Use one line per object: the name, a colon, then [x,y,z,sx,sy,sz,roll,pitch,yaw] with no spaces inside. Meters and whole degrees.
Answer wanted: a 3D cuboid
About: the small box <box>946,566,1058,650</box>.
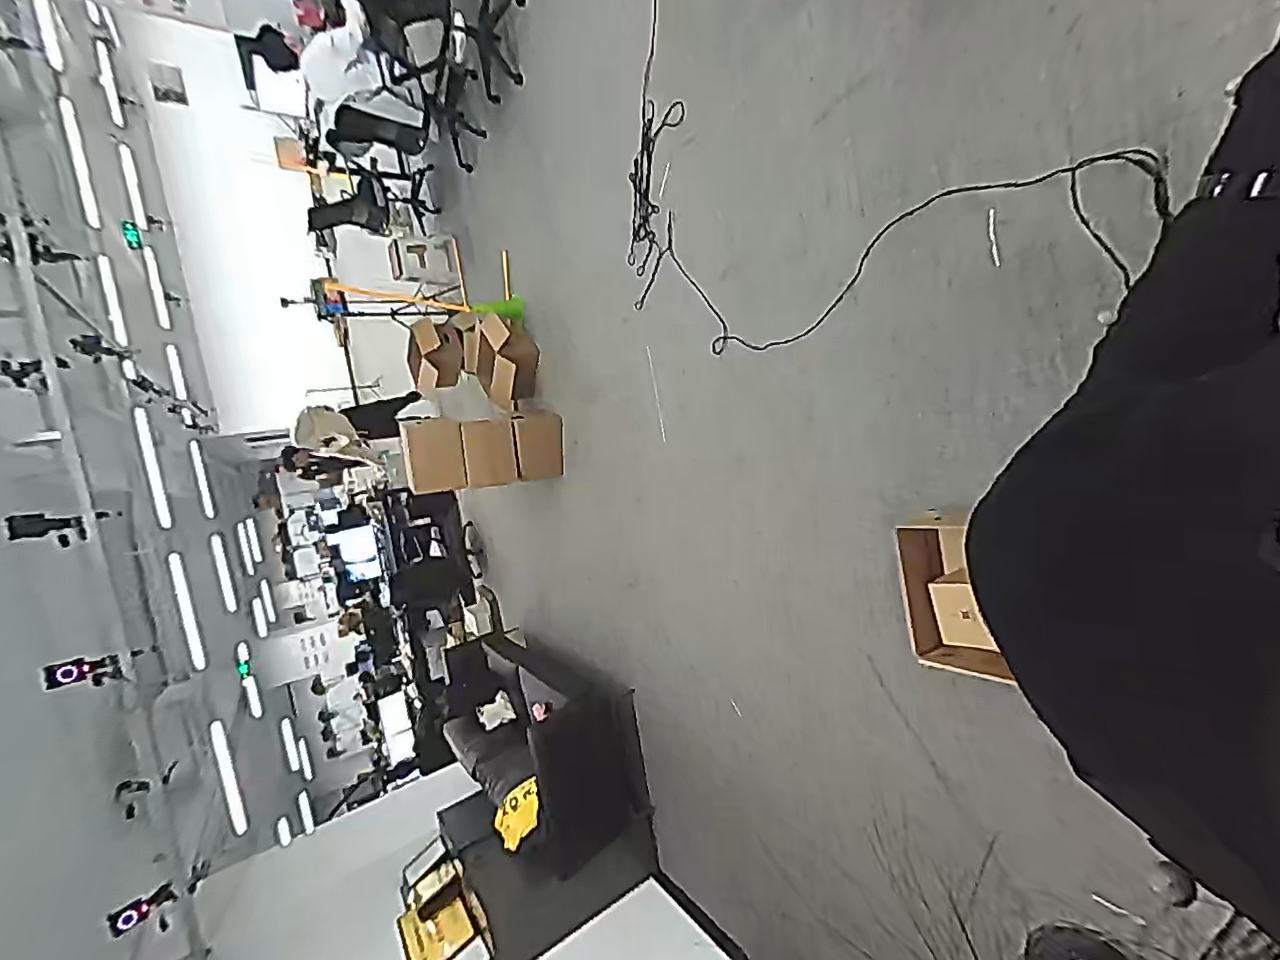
small box: [0.931,0.321,1.385,0.179,0.176,0.168,-18,84,59]
